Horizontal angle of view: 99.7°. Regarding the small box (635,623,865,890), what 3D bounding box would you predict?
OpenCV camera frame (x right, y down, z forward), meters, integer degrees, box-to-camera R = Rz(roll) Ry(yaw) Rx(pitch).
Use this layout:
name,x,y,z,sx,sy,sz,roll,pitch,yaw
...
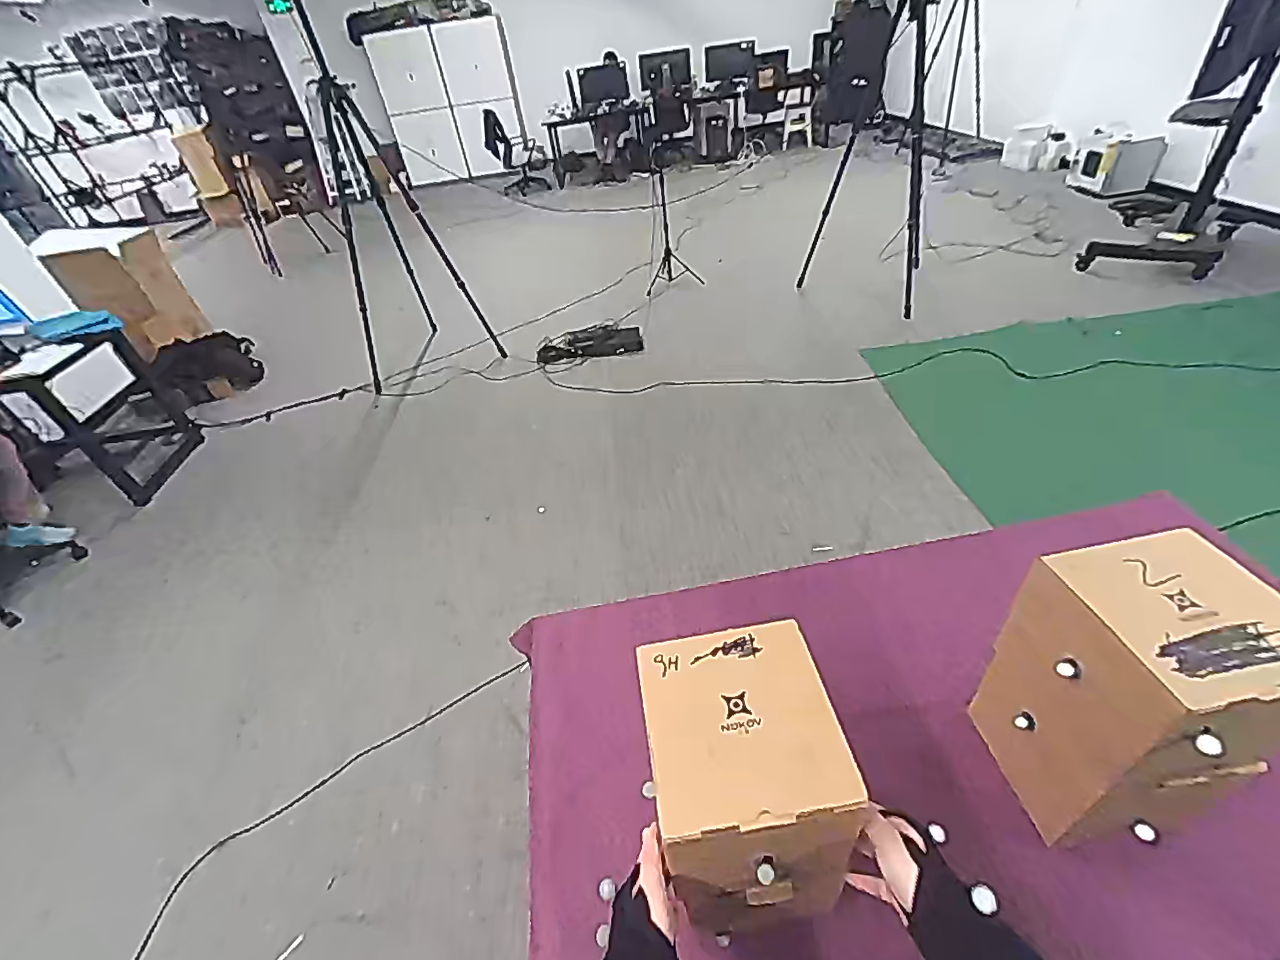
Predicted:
name,x,y,z,sx,sy,sz,roll,pitch,yaw
small box,0.095,0.271,0.527,0.168,0.176,0.179,-10,41,-1

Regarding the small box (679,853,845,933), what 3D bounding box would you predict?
name,x,y,z,sx,sy,sz,roll,pitch,yaw
small box,0.120,0.396,0.631,0.168,0.176,0.179,-11,39,-2

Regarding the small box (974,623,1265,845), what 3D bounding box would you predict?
name,x,y,z,sx,sy,sz,roll,pitch,yaw
small box,0.543,0.304,0.651,0.168,0.176,0.179,-10,40,1
